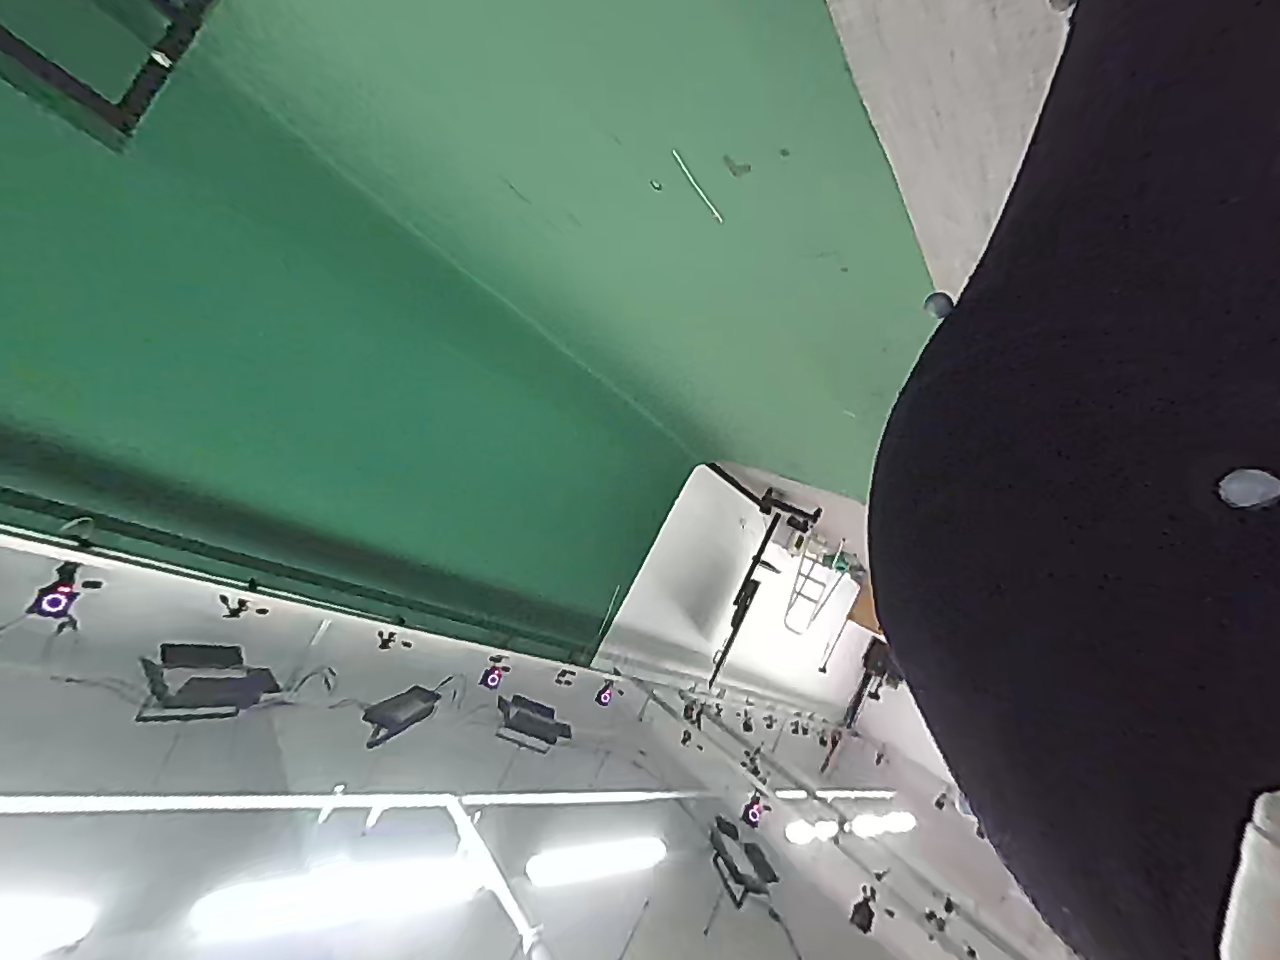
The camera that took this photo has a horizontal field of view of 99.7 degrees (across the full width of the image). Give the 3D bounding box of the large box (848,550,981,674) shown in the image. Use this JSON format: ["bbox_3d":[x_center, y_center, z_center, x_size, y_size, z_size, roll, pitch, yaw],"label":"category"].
[{"bbox_3d":[1.087,0.518,2.121,0.320,0.320,0.408,19,169,45],"label":"large box"}]
